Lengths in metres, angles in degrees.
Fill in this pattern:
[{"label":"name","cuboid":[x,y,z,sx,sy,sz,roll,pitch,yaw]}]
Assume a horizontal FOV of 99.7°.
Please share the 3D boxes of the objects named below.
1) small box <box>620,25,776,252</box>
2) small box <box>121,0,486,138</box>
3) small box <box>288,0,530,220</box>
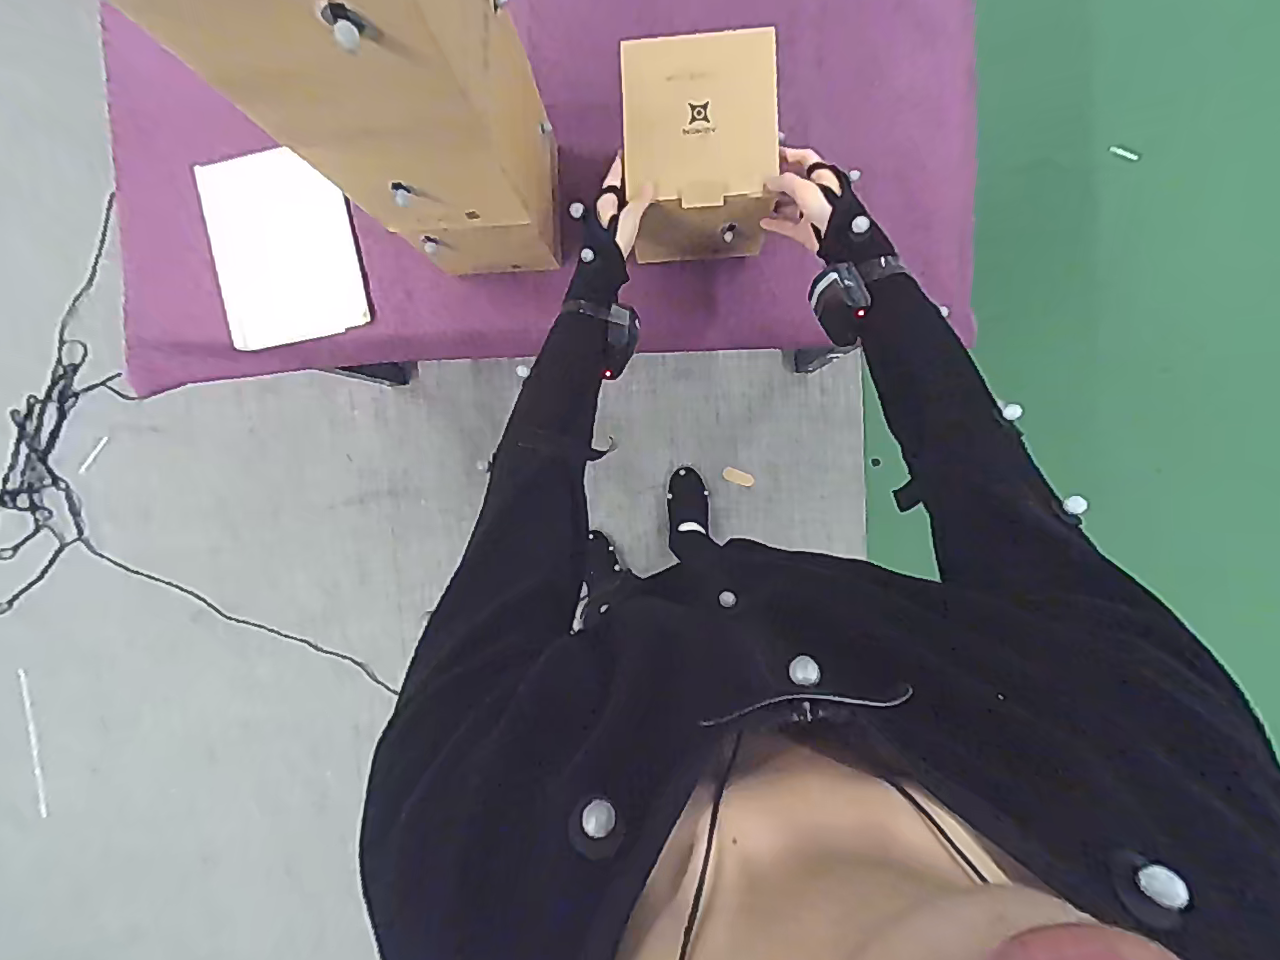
[{"label":"small box","cuboid":[0.068,-0.390,0.653,0.168,0.176,0.179,-1,91,4]},{"label":"small box","cuboid":[-0.206,-0.353,0.352,0.179,0.176,0.168,1,91,3]},{"label":"small box","cuboid":[-0.206,-0.366,0.517,0.168,0.176,0.179,-1,92,3]}]
